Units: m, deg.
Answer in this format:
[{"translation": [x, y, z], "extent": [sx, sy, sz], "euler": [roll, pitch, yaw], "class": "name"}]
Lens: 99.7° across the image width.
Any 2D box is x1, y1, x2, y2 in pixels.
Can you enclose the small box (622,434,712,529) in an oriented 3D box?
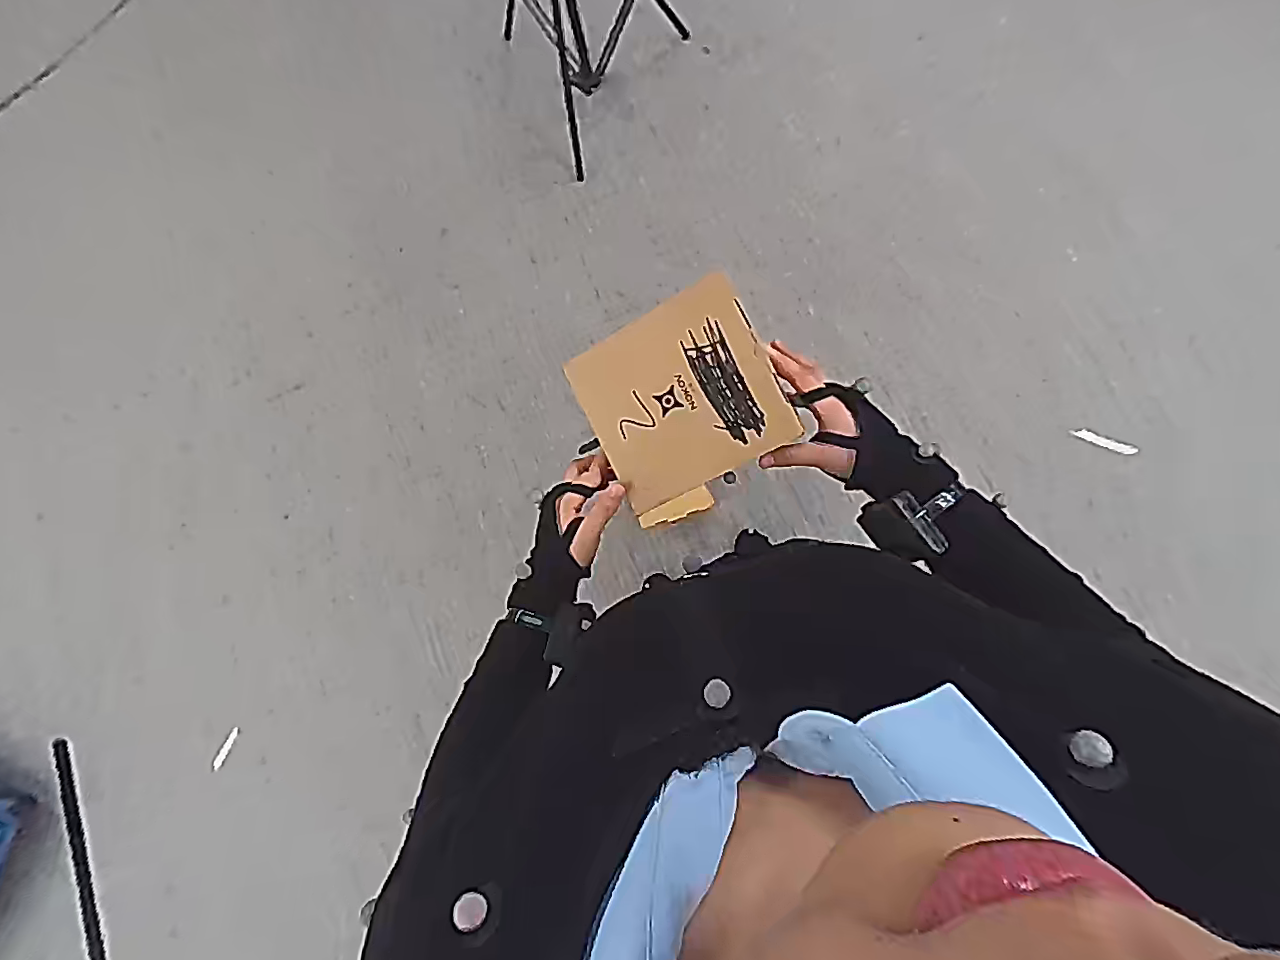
[{"translation": [0.067, 0.012, 1.295], "extent": [0.168, 0.176, 0.179], "euler": [-18, 81, 4], "class": "small box"}]
